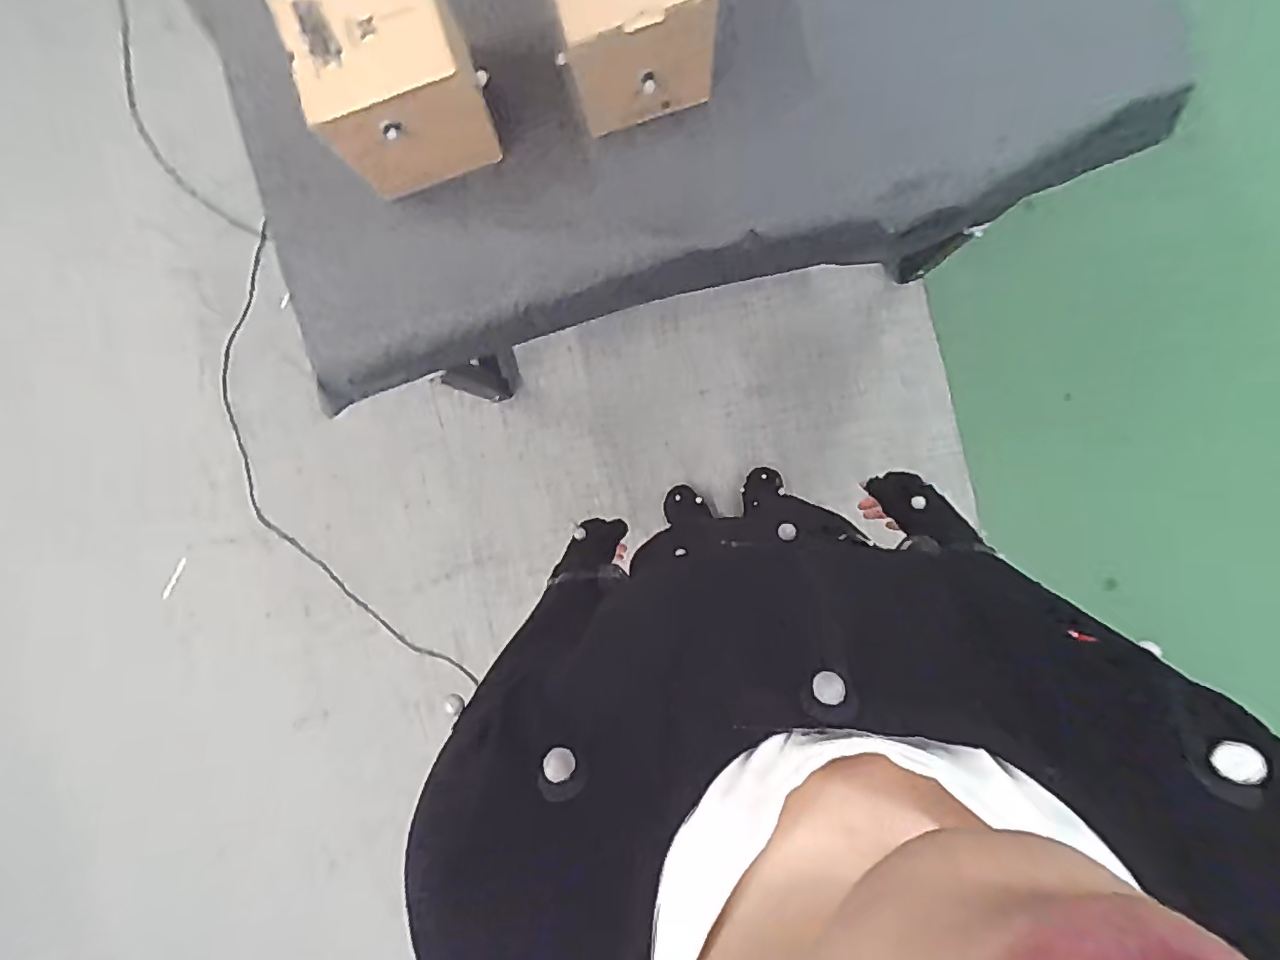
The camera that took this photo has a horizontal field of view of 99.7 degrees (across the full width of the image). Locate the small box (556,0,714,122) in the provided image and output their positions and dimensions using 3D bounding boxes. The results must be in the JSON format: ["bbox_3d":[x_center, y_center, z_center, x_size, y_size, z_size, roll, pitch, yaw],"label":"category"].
[{"bbox_3d":[-0.014,-0.570,0.648,0.168,0.176,0.179,-15,91,4],"label":"small box"}]

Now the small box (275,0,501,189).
[{"bbox_3d":[-0.297,-0.496,0.667,0.179,0.176,0.168,-17,91,3],"label":"small box"}]
